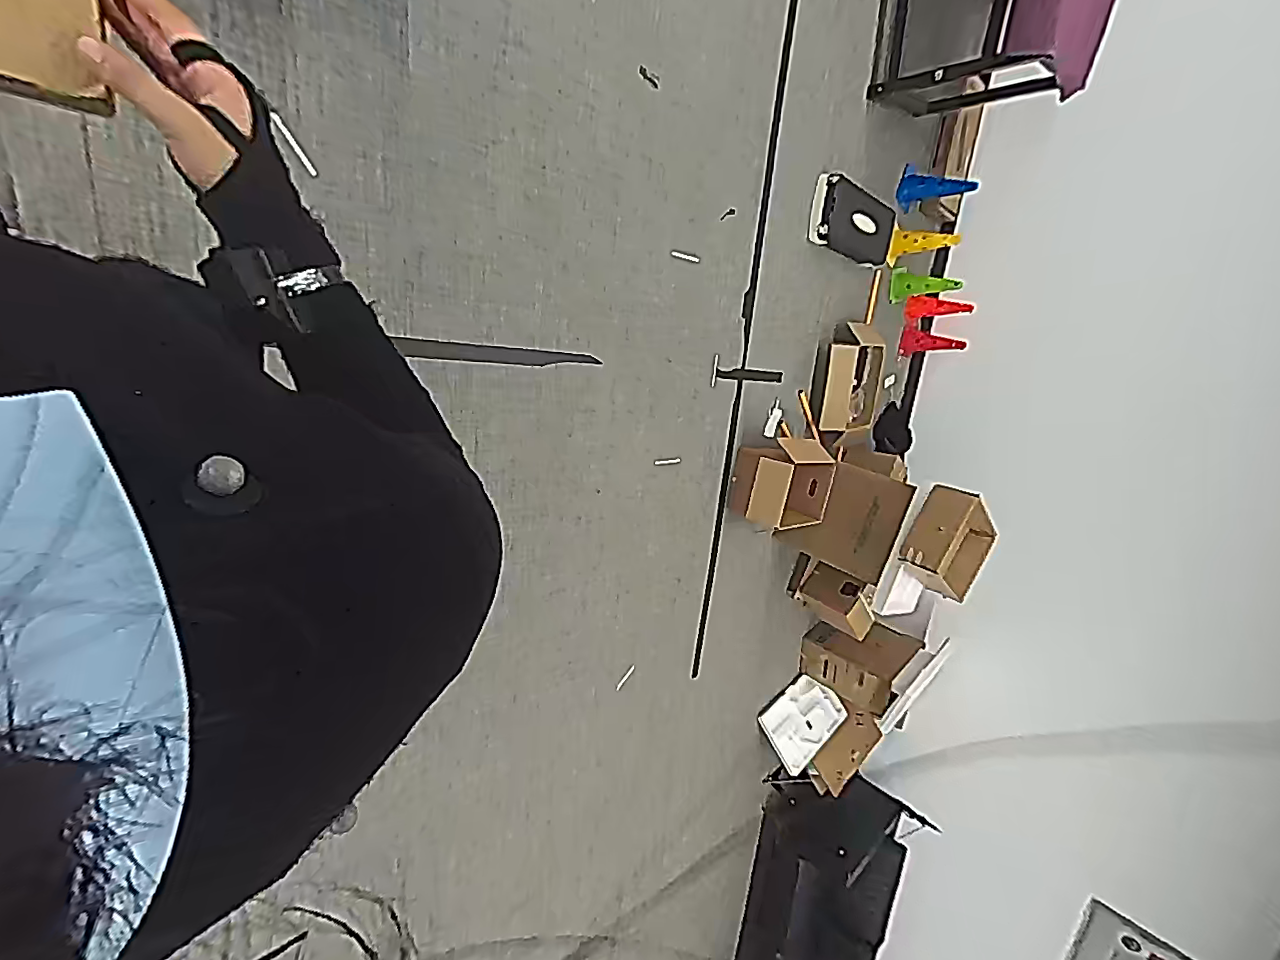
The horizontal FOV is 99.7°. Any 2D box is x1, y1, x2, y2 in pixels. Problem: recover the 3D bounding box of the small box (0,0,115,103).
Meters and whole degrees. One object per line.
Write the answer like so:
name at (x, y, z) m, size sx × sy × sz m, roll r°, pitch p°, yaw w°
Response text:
small box at (-0.413, -0.340, 0.298) m, size 0.168 × 0.176 × 0.179 m, roll -5°, pitch 117°, yaw -41°
